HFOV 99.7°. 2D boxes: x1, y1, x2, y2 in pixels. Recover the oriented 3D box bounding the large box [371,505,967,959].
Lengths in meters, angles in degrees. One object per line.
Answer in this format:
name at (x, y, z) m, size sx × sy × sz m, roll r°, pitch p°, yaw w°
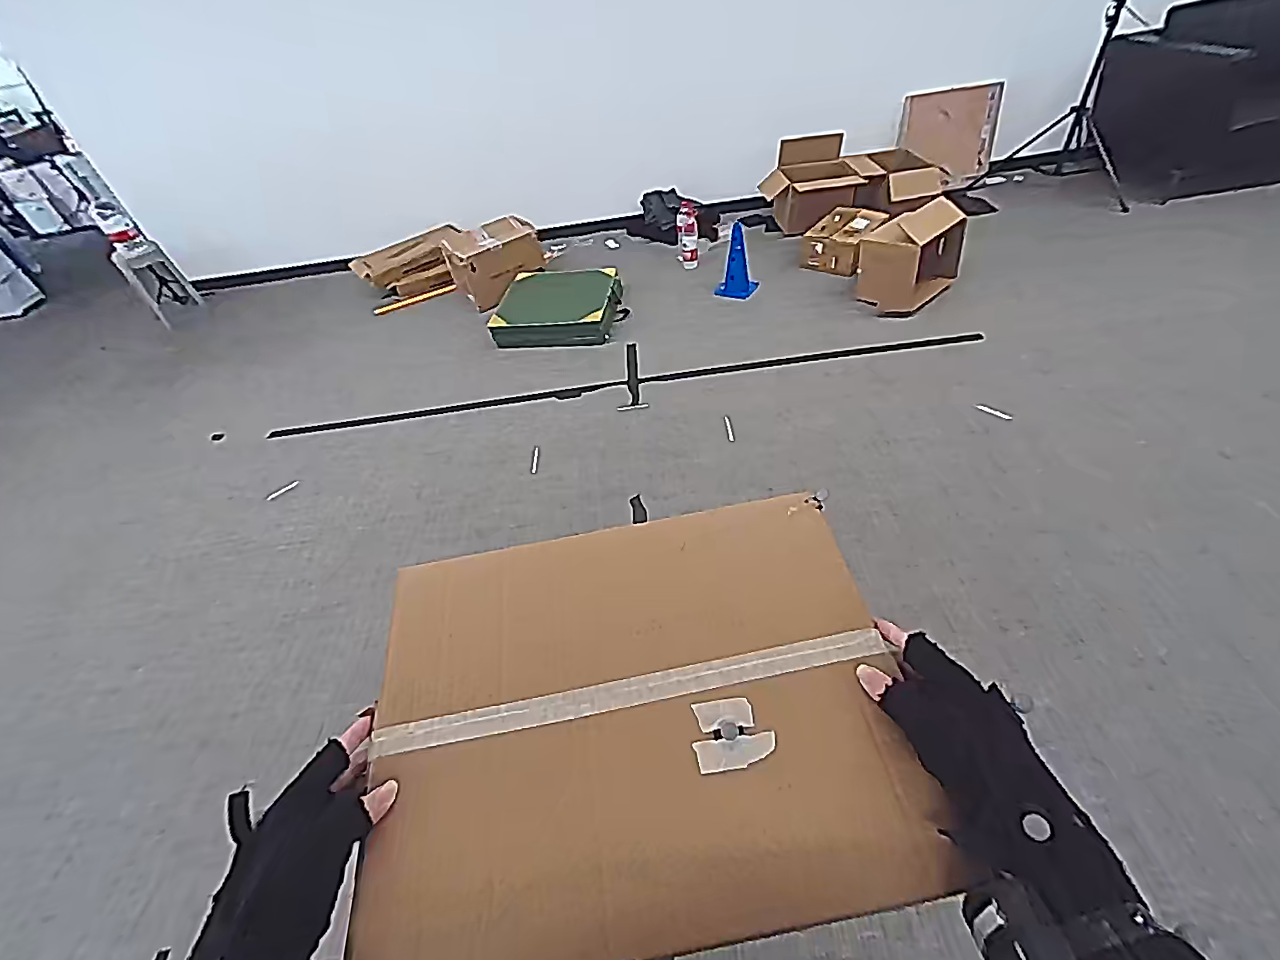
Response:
large box at (0.011, 0.271, 0.553) m, size 0.408 × 0.320 × 0.320 m, roll -11°, pitch 51°, yaw -2°
